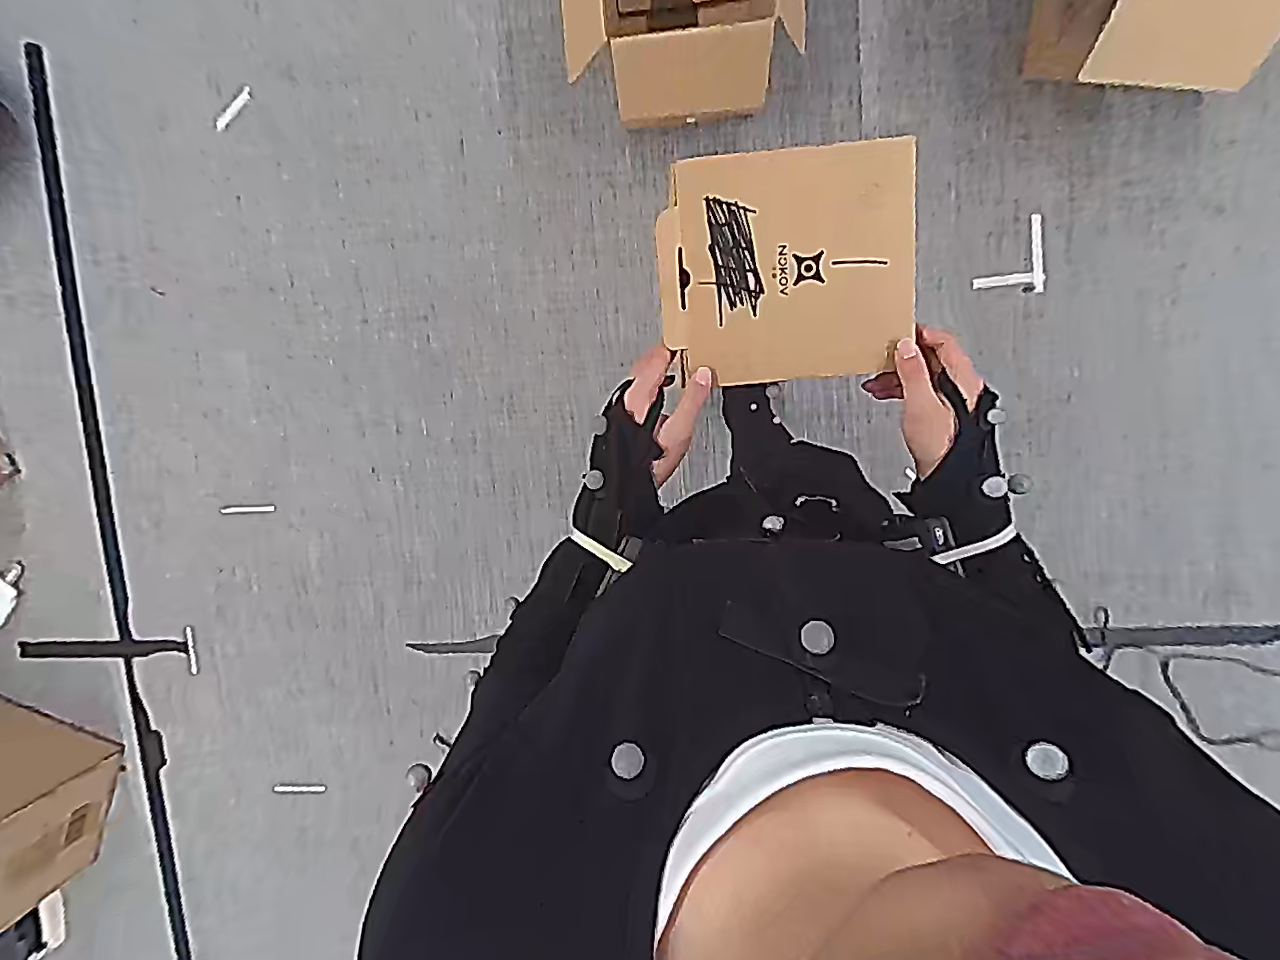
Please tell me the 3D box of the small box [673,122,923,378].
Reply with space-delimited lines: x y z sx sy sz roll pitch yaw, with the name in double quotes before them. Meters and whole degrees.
"small box" 0.120 -0.179 0.474 0.179 0.176 0.168 -5 101 2
